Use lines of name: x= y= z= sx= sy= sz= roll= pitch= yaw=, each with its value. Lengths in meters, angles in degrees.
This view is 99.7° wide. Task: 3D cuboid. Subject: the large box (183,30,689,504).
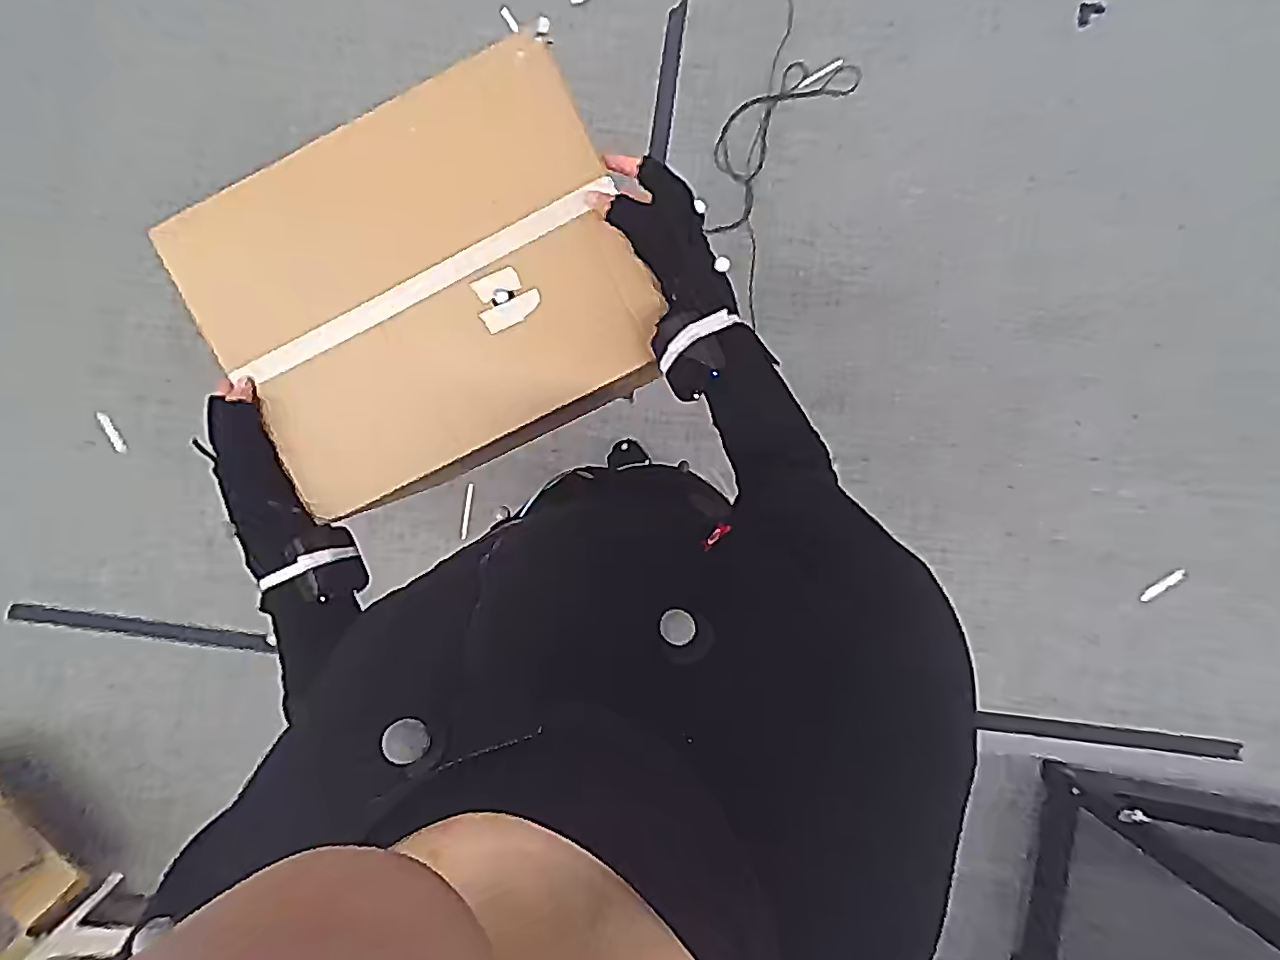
large box: x=-0.195 y=-0.209 z=0.665 sx=0.408 sy=0.320 sz=0.320 roll=-25 pitch=97 yaw=1
